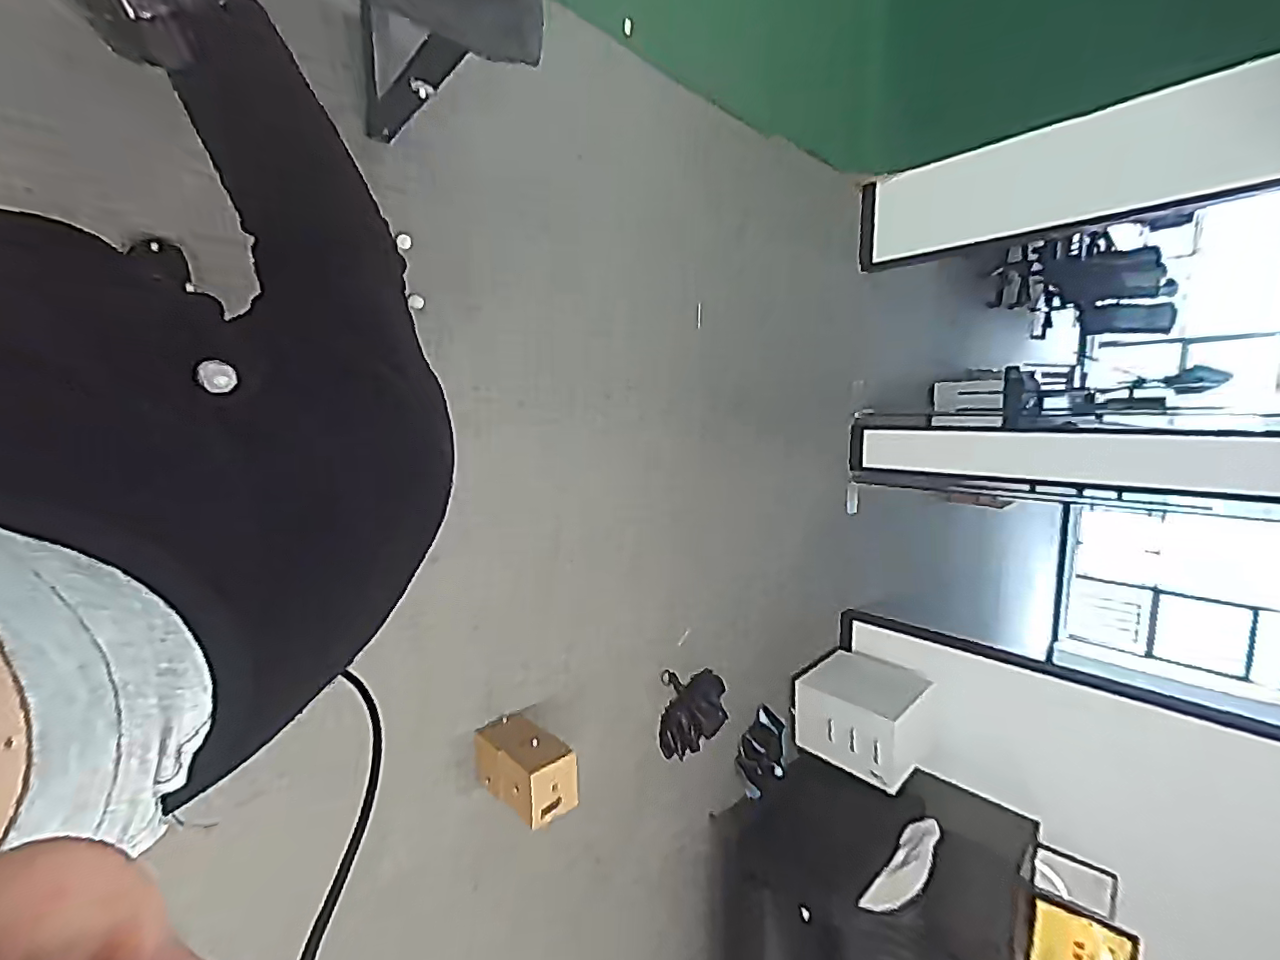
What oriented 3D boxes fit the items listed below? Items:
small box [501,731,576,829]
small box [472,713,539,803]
[{"bbox_3d":[-0.313,0.910,1.659,0.168,0.176,0.179,-7,99,-44],"label":"small box"},{"bbox_3d":[-0.434,0.901,1.772,0.168,0.176,0.179,-10,100,-44],"label":"small box"}]
